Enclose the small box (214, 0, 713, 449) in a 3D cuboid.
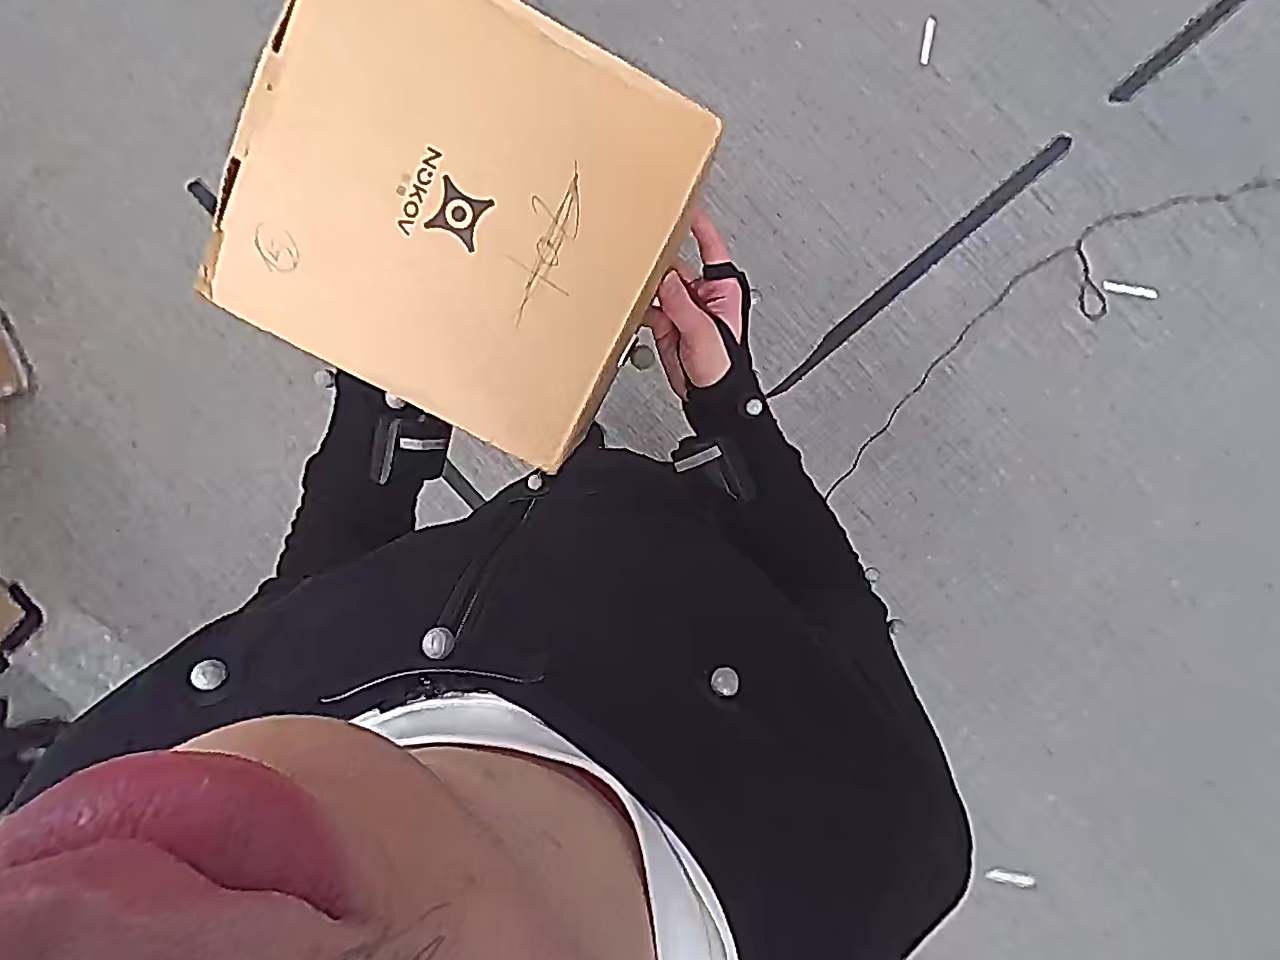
[{"bbox_3d":[-0.081,-0.135,0.317,0.179,0.176,0.168,26,100,-6],"label":"small box"}]
